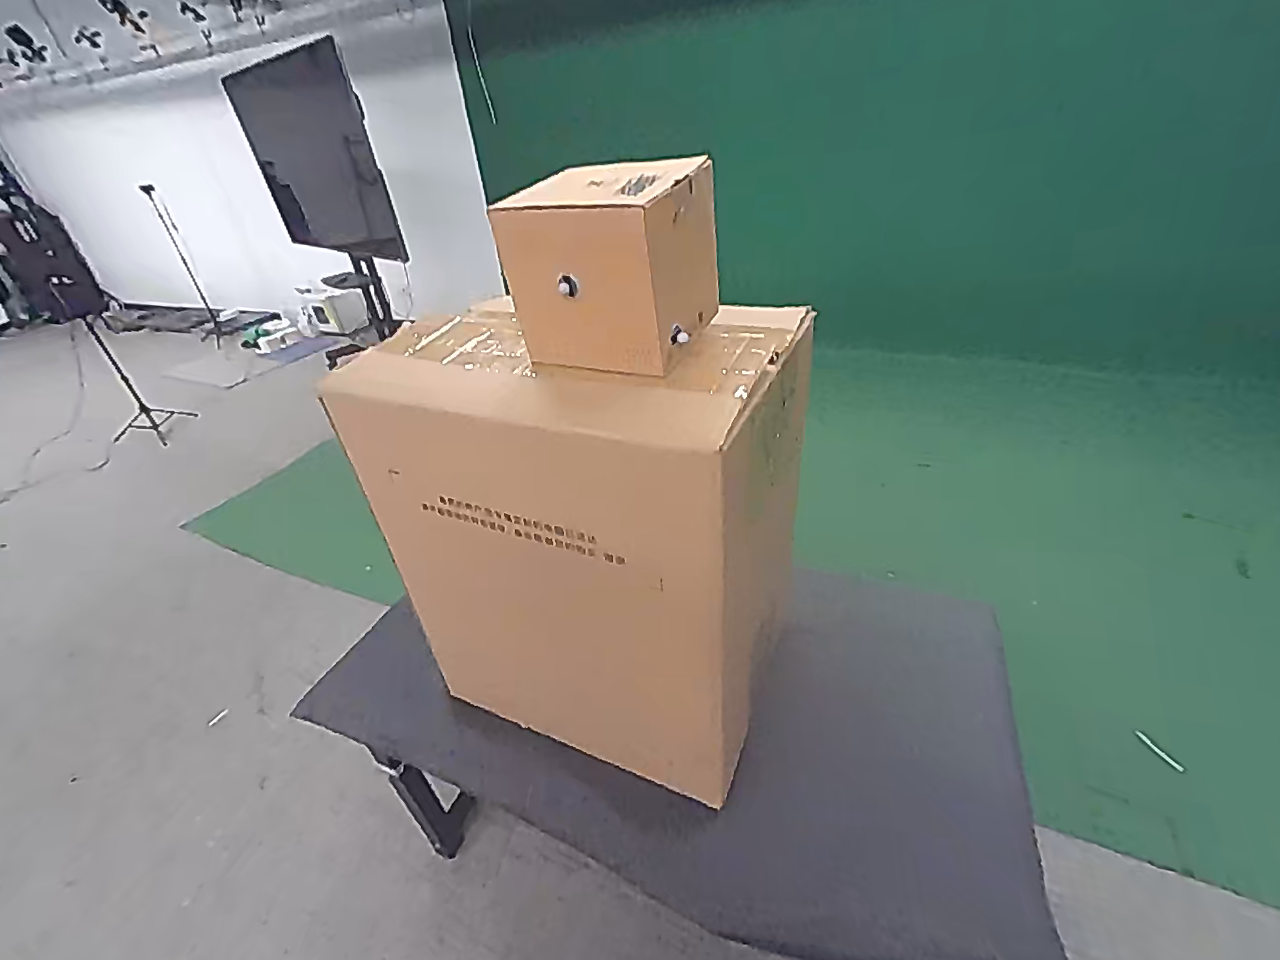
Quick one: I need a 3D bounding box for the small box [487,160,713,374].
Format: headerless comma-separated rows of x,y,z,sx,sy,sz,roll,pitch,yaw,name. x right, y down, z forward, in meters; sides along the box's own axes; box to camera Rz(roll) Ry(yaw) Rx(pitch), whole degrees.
-0.028,-0.231,0.593,0.179,0.176,0.168,12,44,25,small box
